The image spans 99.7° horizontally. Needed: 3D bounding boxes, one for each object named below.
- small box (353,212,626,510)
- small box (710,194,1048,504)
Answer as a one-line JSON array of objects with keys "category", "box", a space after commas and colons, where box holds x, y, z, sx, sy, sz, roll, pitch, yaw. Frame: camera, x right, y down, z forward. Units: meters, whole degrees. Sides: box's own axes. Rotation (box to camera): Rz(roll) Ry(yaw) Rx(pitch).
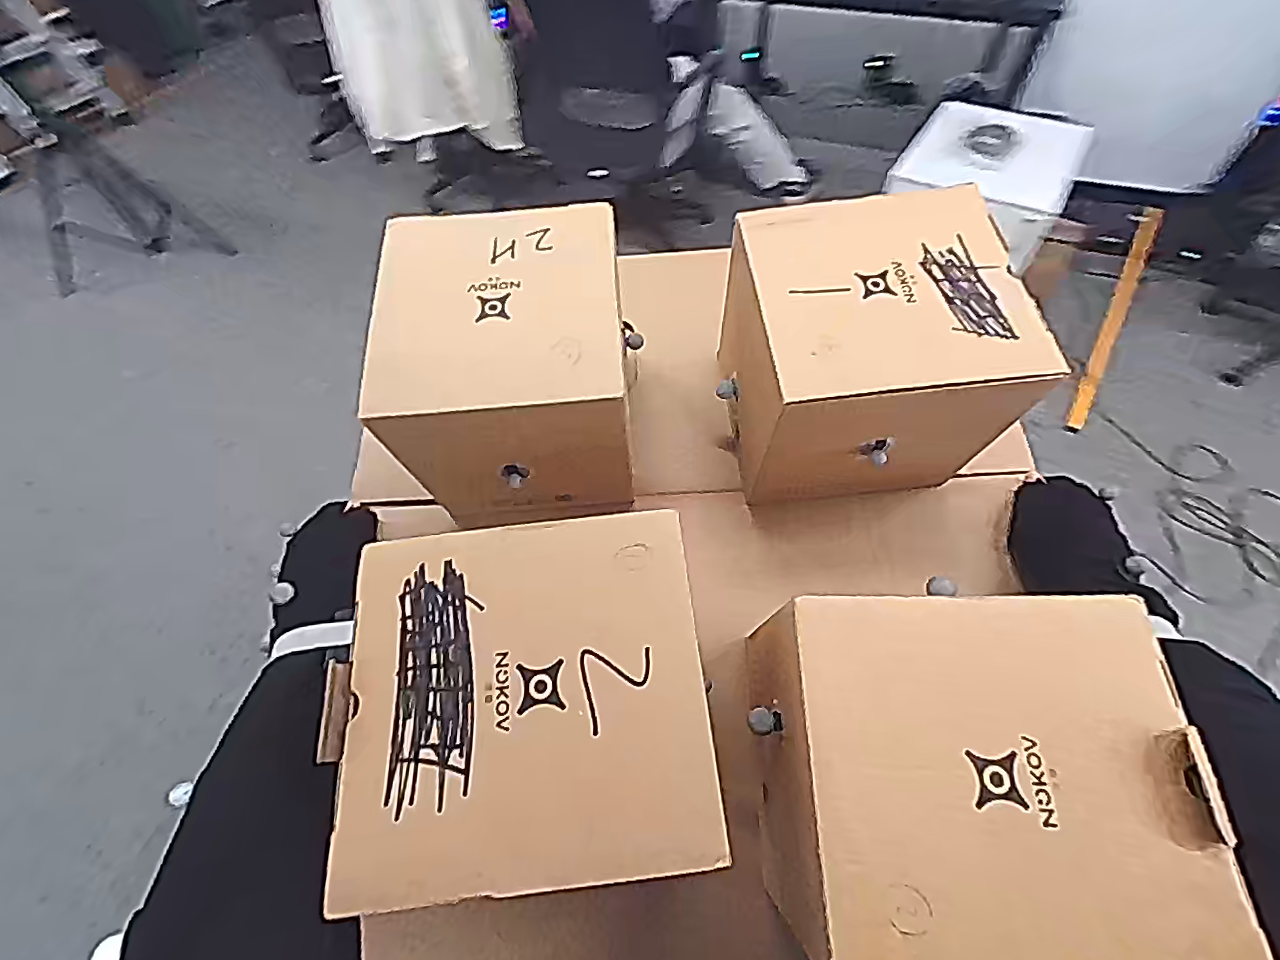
[{"category": "small box", "box": [-0.101, -0.082, 0.441, 0.168, 0.176, 0.179, -4, 65, -1]}, {"category": "small box", "box": [0.159, -0.091, 0.432, 0.179, 0.176, 0.168, -7, 65, 0]}]
